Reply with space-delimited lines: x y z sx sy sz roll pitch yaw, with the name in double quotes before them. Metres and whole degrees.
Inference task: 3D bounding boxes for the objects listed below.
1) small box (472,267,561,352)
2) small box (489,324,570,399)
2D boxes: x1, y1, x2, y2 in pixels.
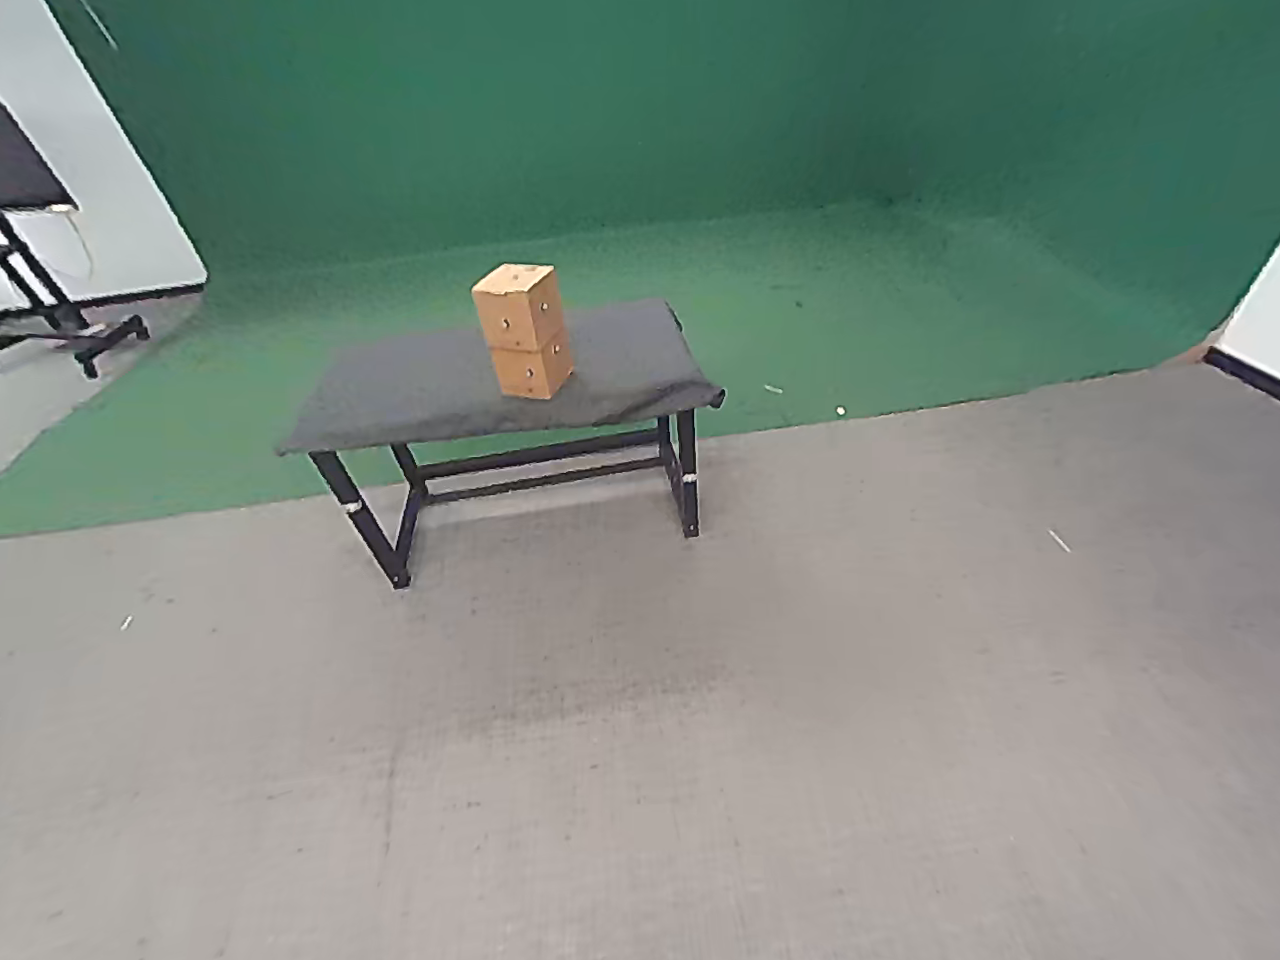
"small box" -0.333 -0.474 1.505 0.168 0.176 0.179 9 45 16
"small box" -0.322 -0.359 1.622 0.168 0.176 0.179 9 42 16
